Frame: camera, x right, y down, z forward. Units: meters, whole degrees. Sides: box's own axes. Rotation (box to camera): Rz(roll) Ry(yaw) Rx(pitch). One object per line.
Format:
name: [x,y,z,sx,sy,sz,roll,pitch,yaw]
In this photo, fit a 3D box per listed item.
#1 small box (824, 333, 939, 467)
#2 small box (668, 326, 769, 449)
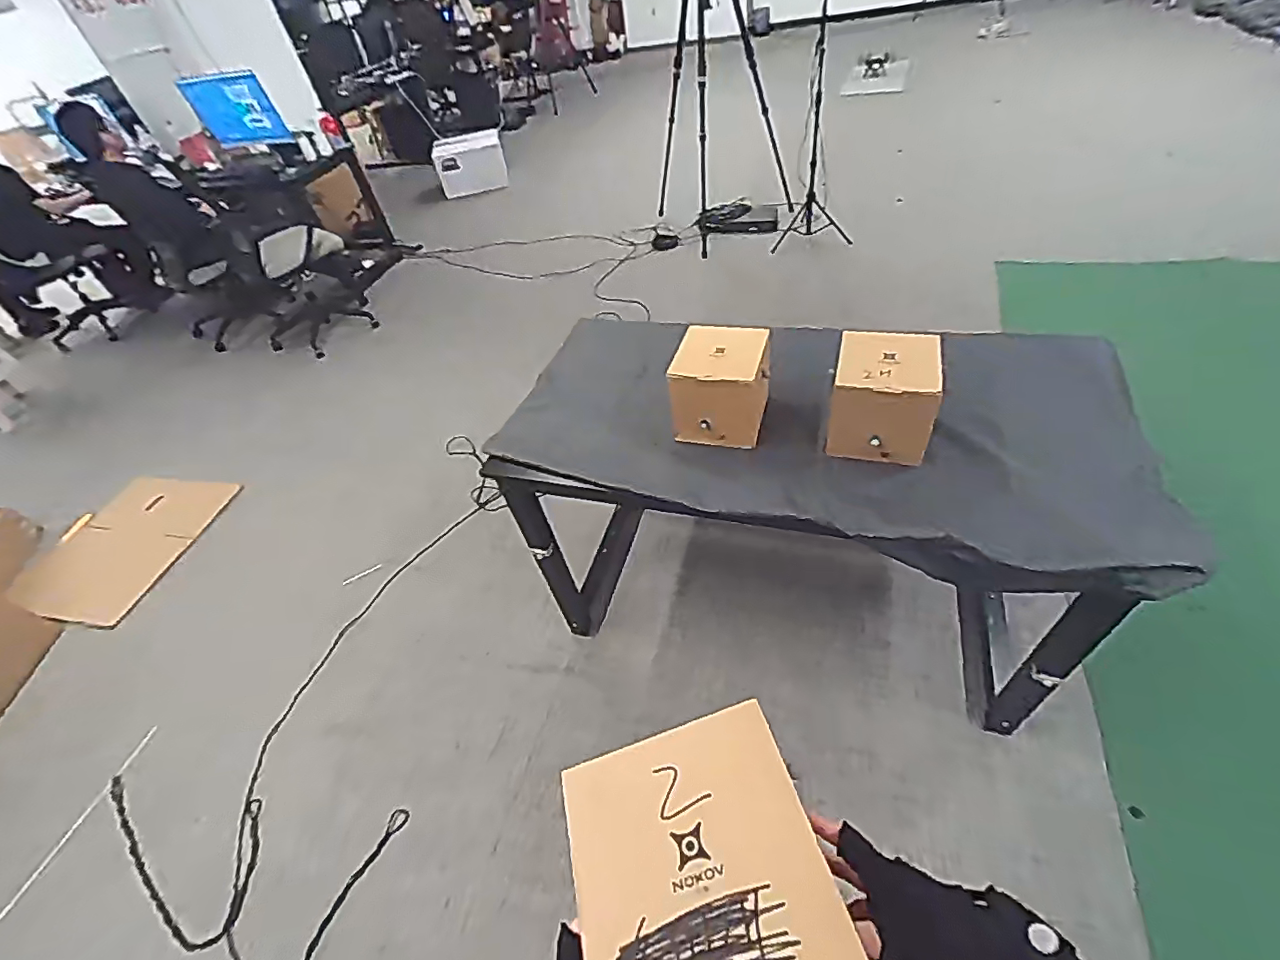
small box: [0.443,-0.150,1.004,0.168,0.176,0.179,9,49,18]
small box: [0.161,-0.188,1.094,0.168,0.176,0.179,9,49,18]
